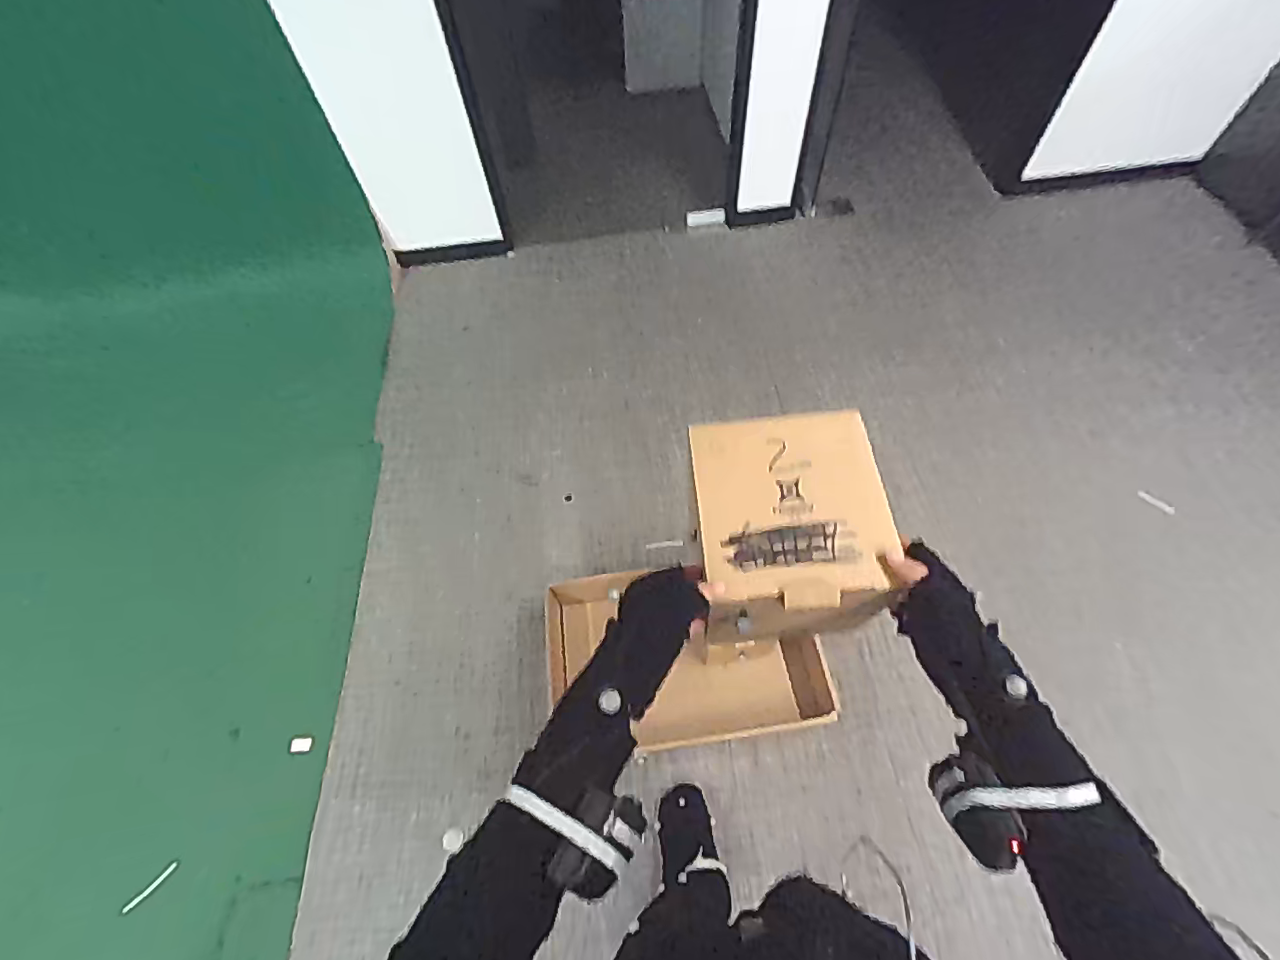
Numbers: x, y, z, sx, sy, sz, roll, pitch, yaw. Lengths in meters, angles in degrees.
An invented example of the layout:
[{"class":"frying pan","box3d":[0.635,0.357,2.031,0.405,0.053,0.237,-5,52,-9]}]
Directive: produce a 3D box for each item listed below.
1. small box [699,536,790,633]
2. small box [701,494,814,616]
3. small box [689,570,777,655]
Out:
[{"class":"small box","box3d":[0.221,0.218,1.153,0.168,0.176,0.179,-8,59,-1]},{"class":"small box","box3d":[0.212,0.150,1.023,0.168,0.176,0.179,-7,59,-1]},{"class":"small box","box3d":[0.219,0.314,1.309,0.168,0.176,0.179,-13,59,-2]}]
